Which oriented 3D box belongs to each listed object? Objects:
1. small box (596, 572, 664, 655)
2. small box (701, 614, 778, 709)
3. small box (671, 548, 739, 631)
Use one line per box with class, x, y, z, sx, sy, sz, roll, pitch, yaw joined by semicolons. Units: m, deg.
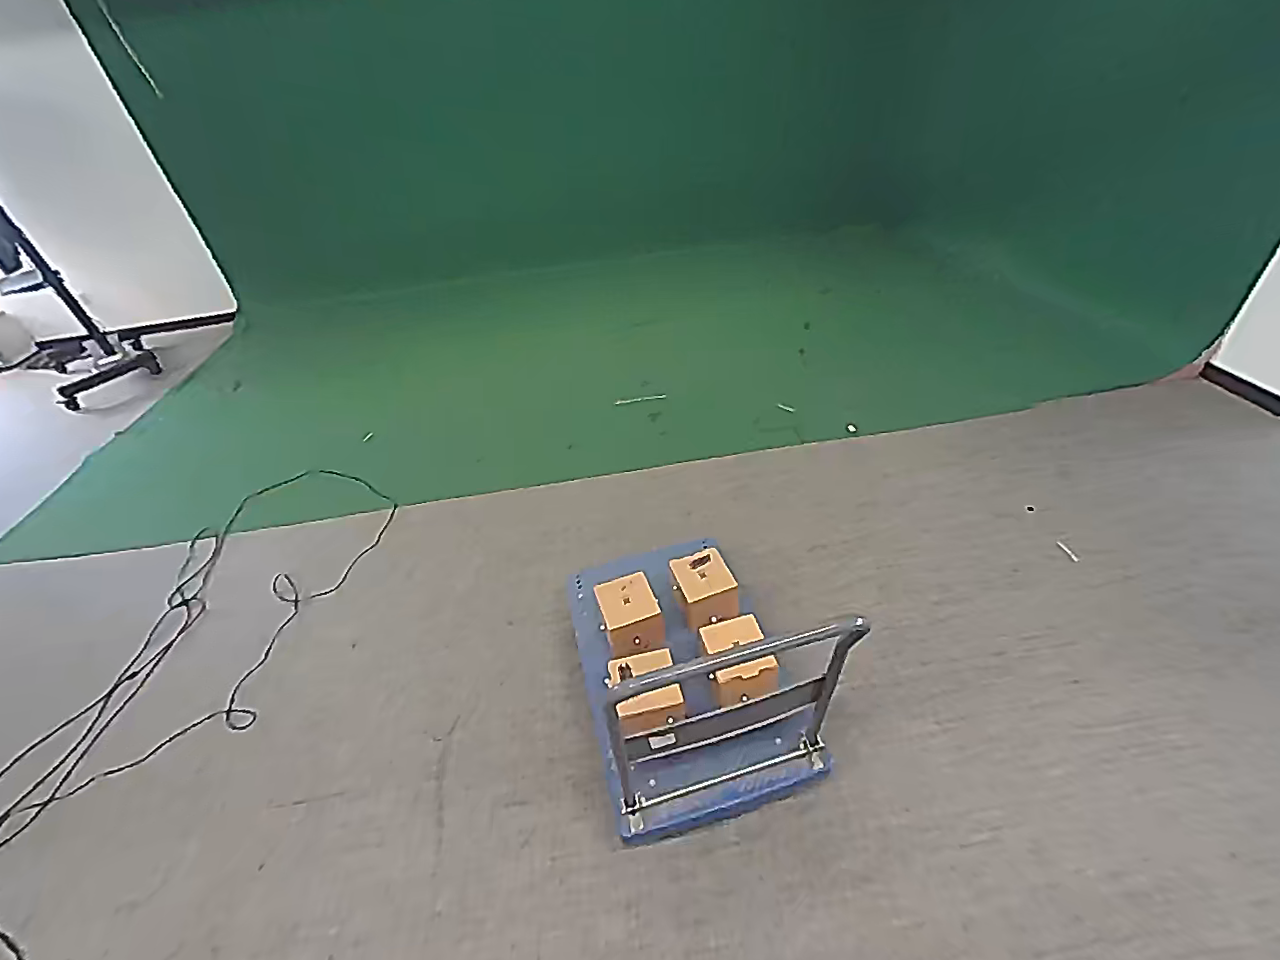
small box;-0.029;0.428;1.708;0.168;0.176;0.179;-16;41;-11
small box;0.279;0.521;1.552;0.168;0.176;0.179;-13;41;-7
small box;0.208;0.357;1.755;0.168;0.176;0.179;-17;42;-10
